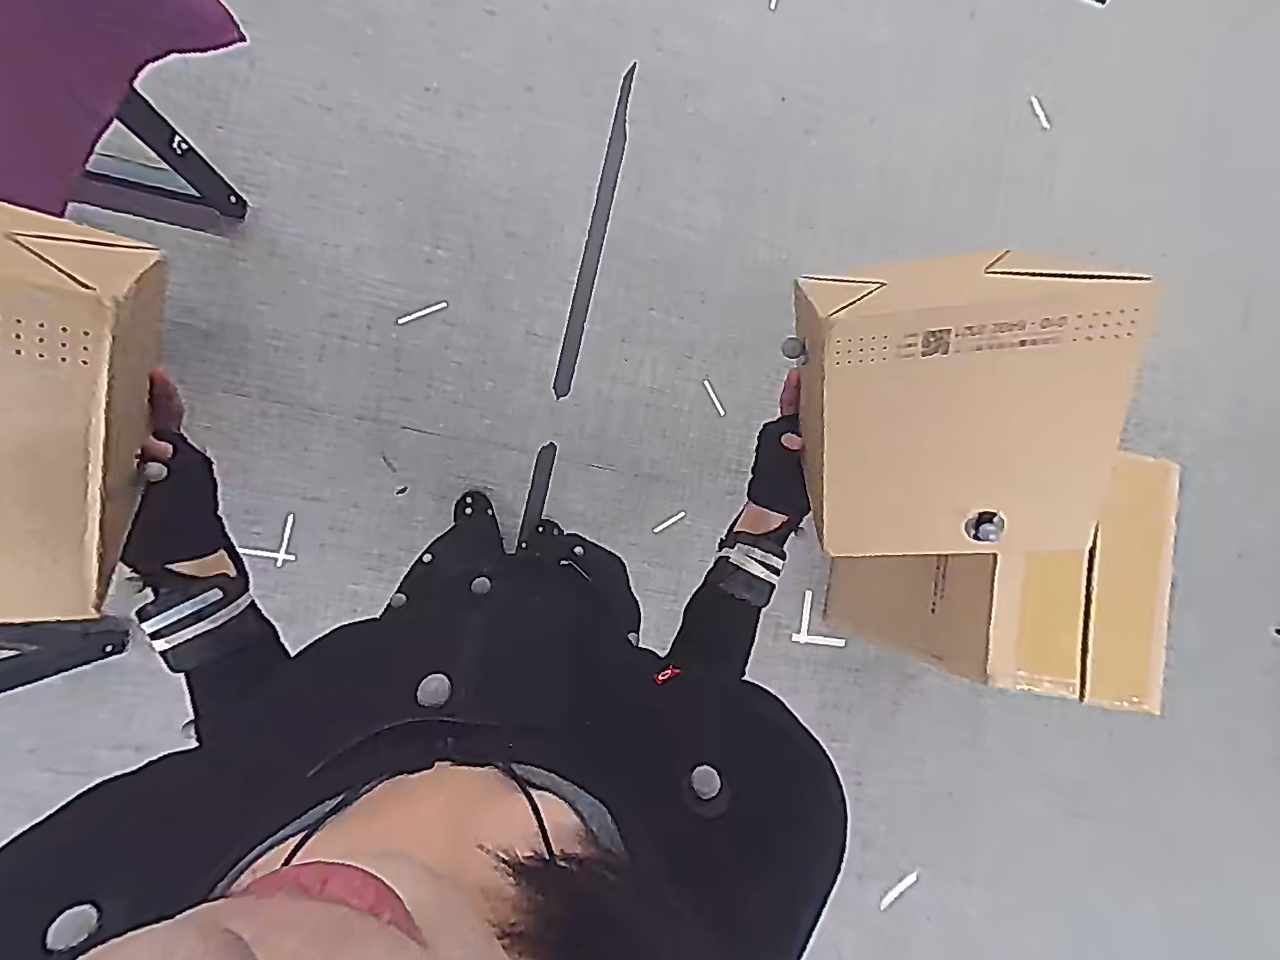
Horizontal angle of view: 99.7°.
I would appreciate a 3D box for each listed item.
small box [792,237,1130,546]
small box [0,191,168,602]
[{"bbox_3d":[0.203,-0.072,0.393,0.168,0.179,0.176,-4,117,13],"label":"small box"},{"bbox_3d":[-0.356,-0.059,0.265,0.168,0.179,0.176,7,110,-35],"label":"small box"}]
